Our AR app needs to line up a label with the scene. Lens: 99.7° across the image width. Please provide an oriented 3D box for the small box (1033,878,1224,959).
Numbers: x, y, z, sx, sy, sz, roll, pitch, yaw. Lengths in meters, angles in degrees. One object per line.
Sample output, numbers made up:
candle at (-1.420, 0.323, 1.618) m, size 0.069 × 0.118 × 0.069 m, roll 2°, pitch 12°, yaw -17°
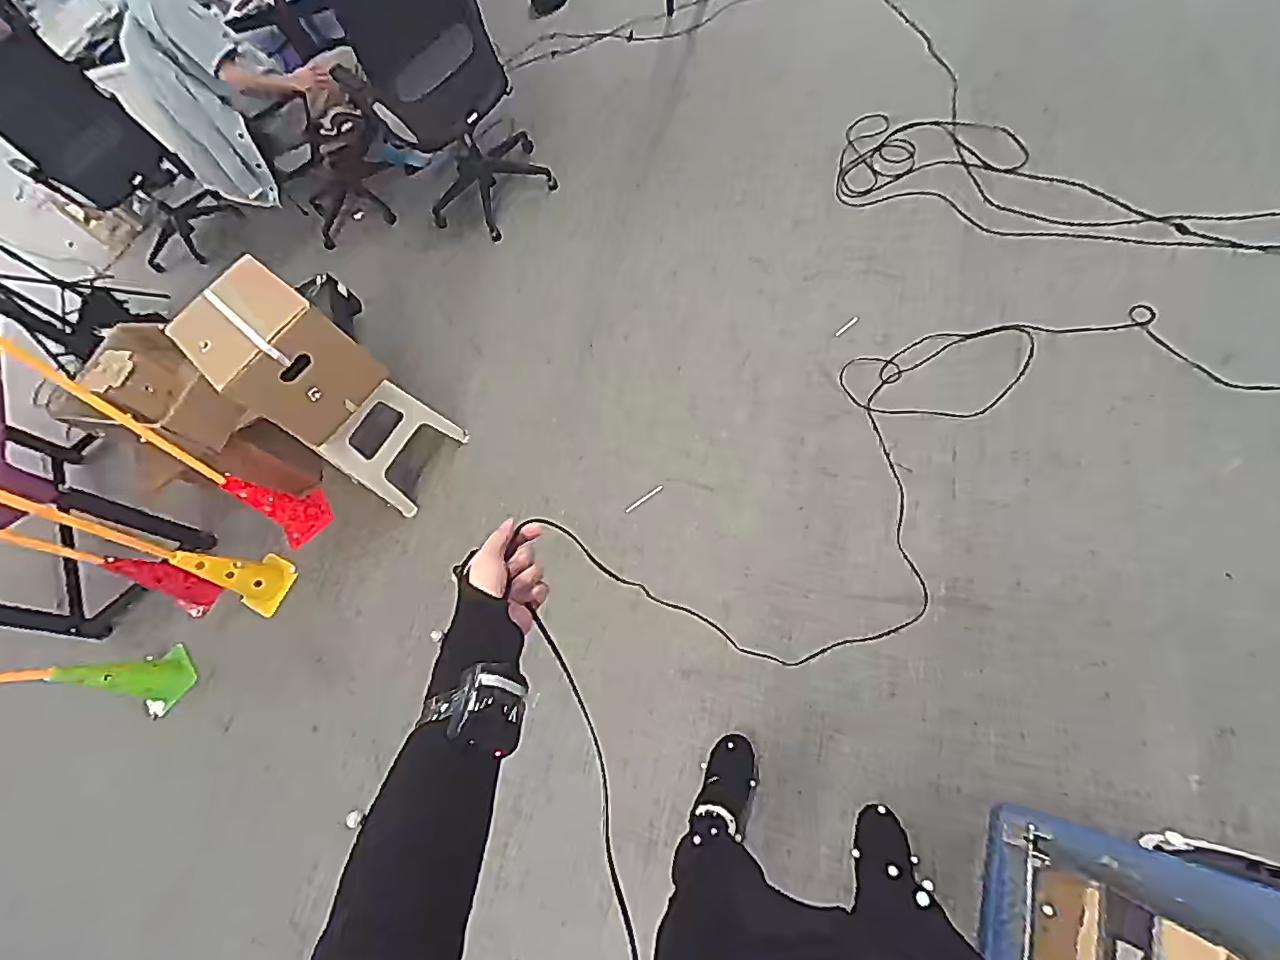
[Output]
small box at (0.774, 0.782, 0.871) m, size 0.179 × 0.176 × 0.168 m, roll 14°, pitch 71°, yaw 23°
